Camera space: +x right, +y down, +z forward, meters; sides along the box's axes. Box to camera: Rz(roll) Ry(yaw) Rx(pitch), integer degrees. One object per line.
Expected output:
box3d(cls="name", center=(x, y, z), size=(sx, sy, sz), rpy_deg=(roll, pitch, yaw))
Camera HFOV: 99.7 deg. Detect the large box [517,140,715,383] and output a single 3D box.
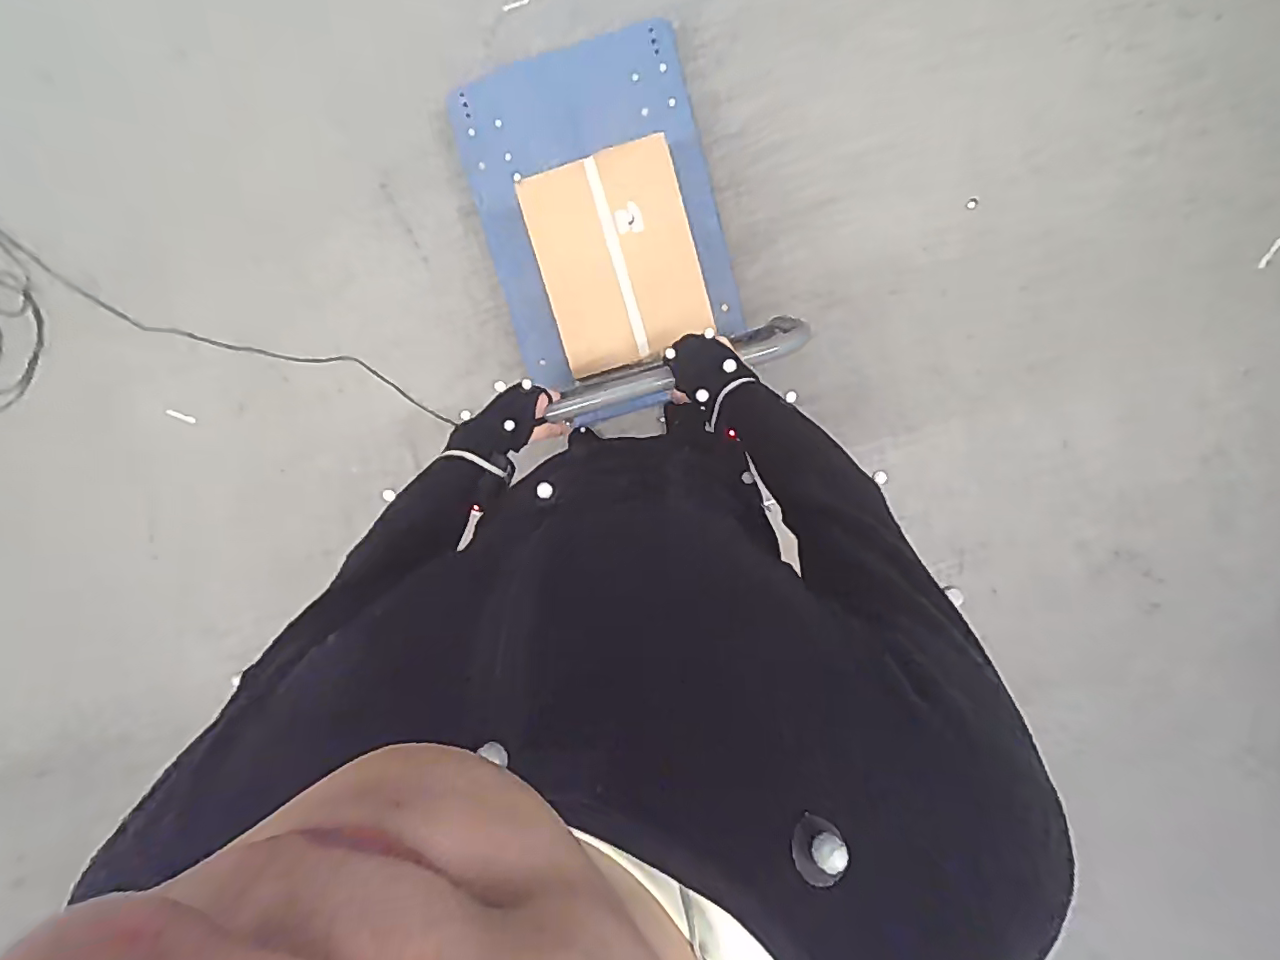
box3d(cls="large box", center=(-0.039, -0.464, 1.249), size=(0.320, 0.320, 0.408), rpy_deg=(-16, 97, 4))
